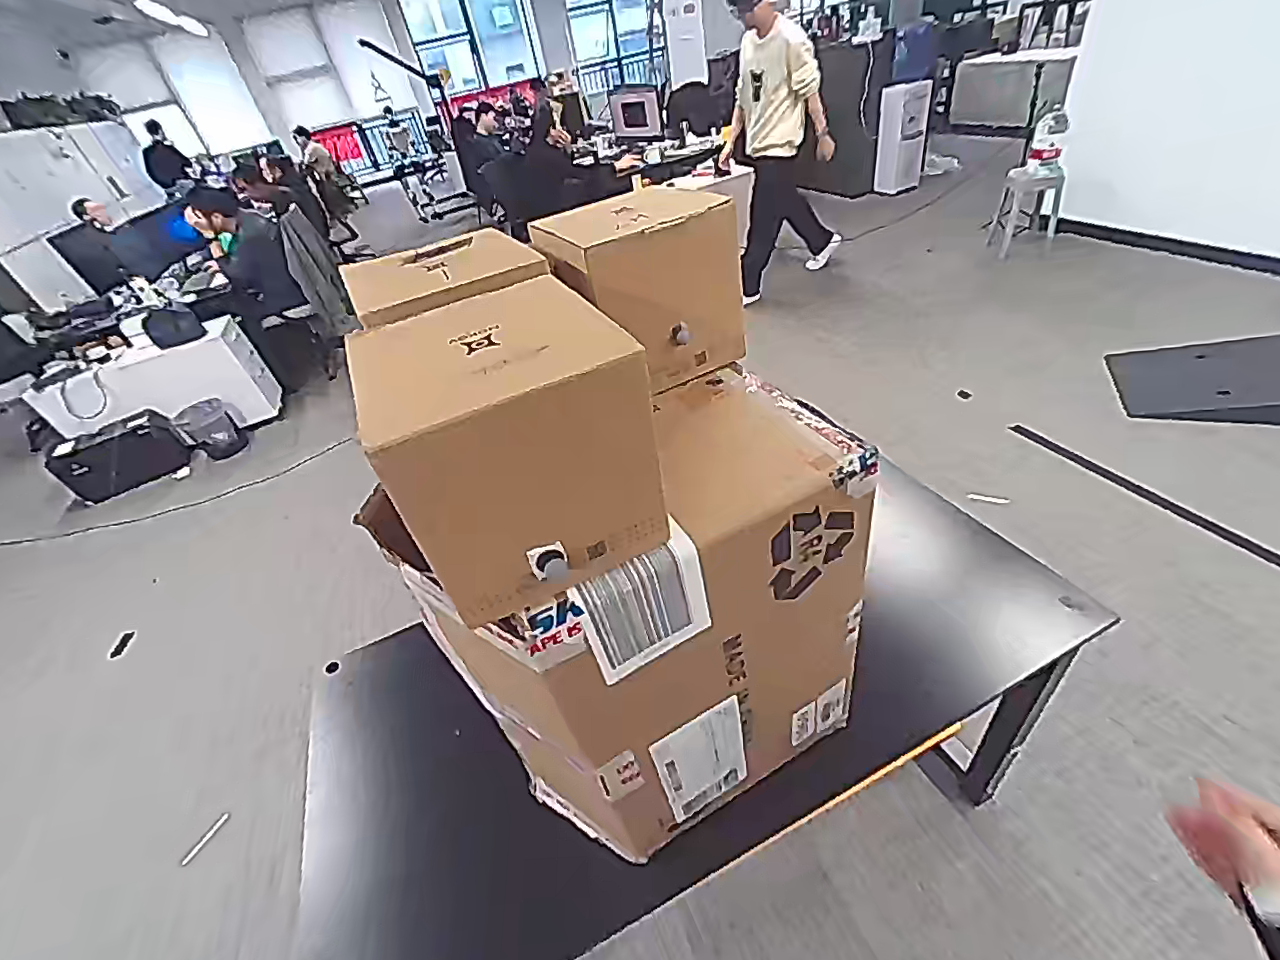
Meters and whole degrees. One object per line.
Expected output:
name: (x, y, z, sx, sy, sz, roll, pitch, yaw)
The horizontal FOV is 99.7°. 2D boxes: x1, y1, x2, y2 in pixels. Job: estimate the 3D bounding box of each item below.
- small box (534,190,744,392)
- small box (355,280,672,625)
small box: (0.000, -0.213, 0.614, 0.168, 0.176, 0.179, -25, 39, -15)
small box: (-0.091, -0.027, 0.411, 0.168, 0.176, 0.179, -25, 43, -16)
